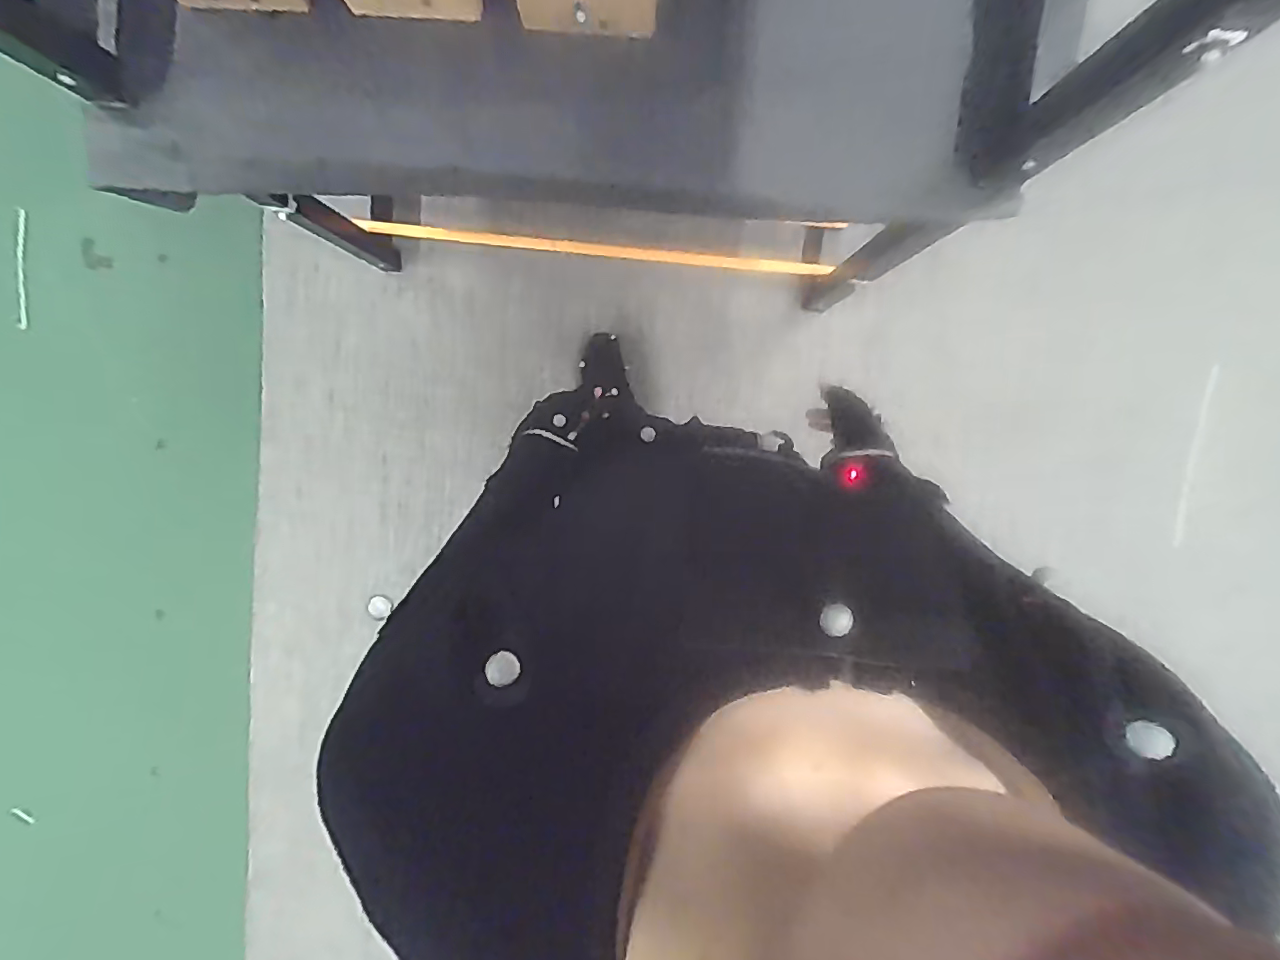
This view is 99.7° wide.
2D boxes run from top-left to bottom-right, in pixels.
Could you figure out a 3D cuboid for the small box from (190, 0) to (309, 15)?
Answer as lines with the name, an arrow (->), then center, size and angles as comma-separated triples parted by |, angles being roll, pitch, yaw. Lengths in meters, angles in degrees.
small box -> -0.495, -0.674, 0.598 | 0.168, 0.176, 0.179 | 3, 97, 1
